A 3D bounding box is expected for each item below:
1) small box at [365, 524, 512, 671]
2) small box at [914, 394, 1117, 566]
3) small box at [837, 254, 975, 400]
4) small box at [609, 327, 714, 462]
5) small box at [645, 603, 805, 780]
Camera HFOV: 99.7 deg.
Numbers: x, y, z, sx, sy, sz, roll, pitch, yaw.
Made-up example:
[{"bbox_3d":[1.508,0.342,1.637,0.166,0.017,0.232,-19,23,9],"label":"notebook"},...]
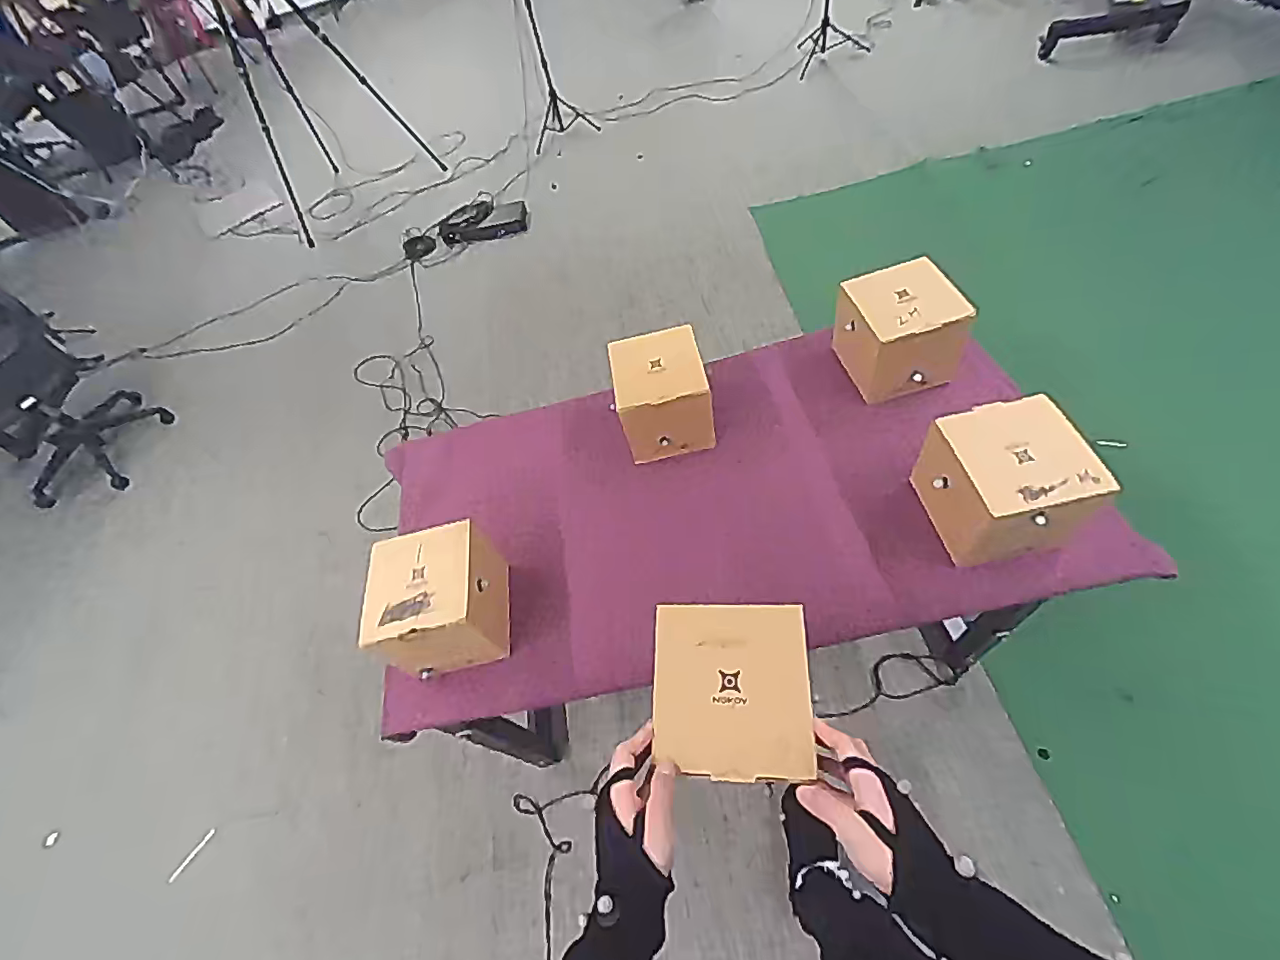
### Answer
[{"bbox_3d":[-0.320,0.203,0.896,0.168,0.176,0.179,-14,53,4],"label":"small box"},{"bbox_3d":[0.539,0.004,0.812,0.168,0.176,0.179,-14,55,6],"label":"small box"},{"bbox_3d":[0.482,-0.282,1.014,0.168,0.176,0.179,-17,56,6],"label":"small box"},{"bbox_3d":[0.044,-0.162,1.050,0.168,0.176,0.179,-13,57,5],"label":"small box"},{"bbox_3d":[0.105,0.256,0.654,0.168,0.176,0.179,-2,62,11],"label":"small box"}]
